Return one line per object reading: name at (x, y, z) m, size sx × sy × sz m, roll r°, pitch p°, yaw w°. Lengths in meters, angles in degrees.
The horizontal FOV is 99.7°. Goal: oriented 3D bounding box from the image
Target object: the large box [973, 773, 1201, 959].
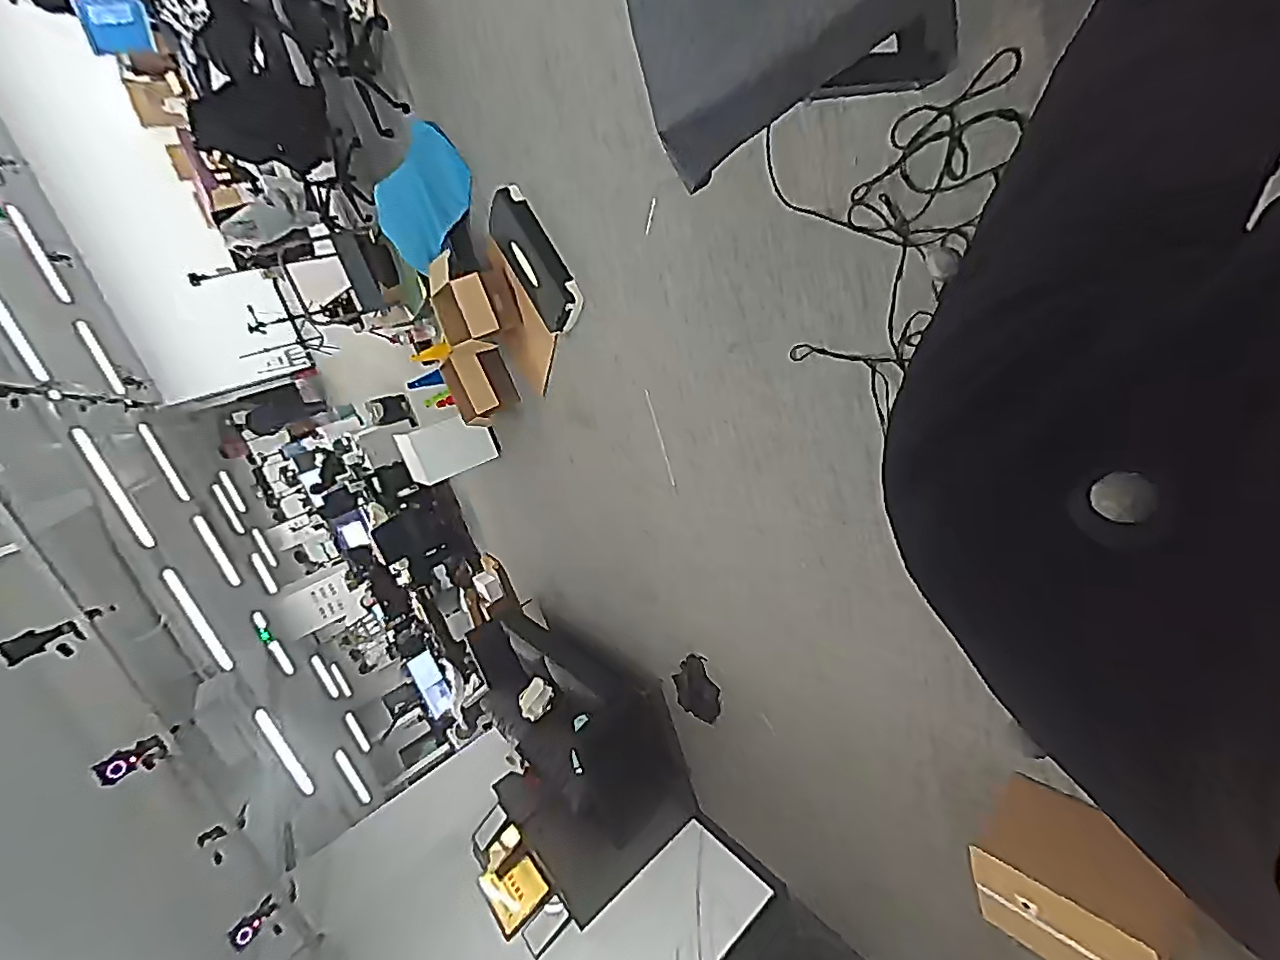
large box at (1.221, 1.115, 1.489) m, size 0.408 × 0.320 × 0.320 m, roll 7°, pitch 120°, yaw 57°
